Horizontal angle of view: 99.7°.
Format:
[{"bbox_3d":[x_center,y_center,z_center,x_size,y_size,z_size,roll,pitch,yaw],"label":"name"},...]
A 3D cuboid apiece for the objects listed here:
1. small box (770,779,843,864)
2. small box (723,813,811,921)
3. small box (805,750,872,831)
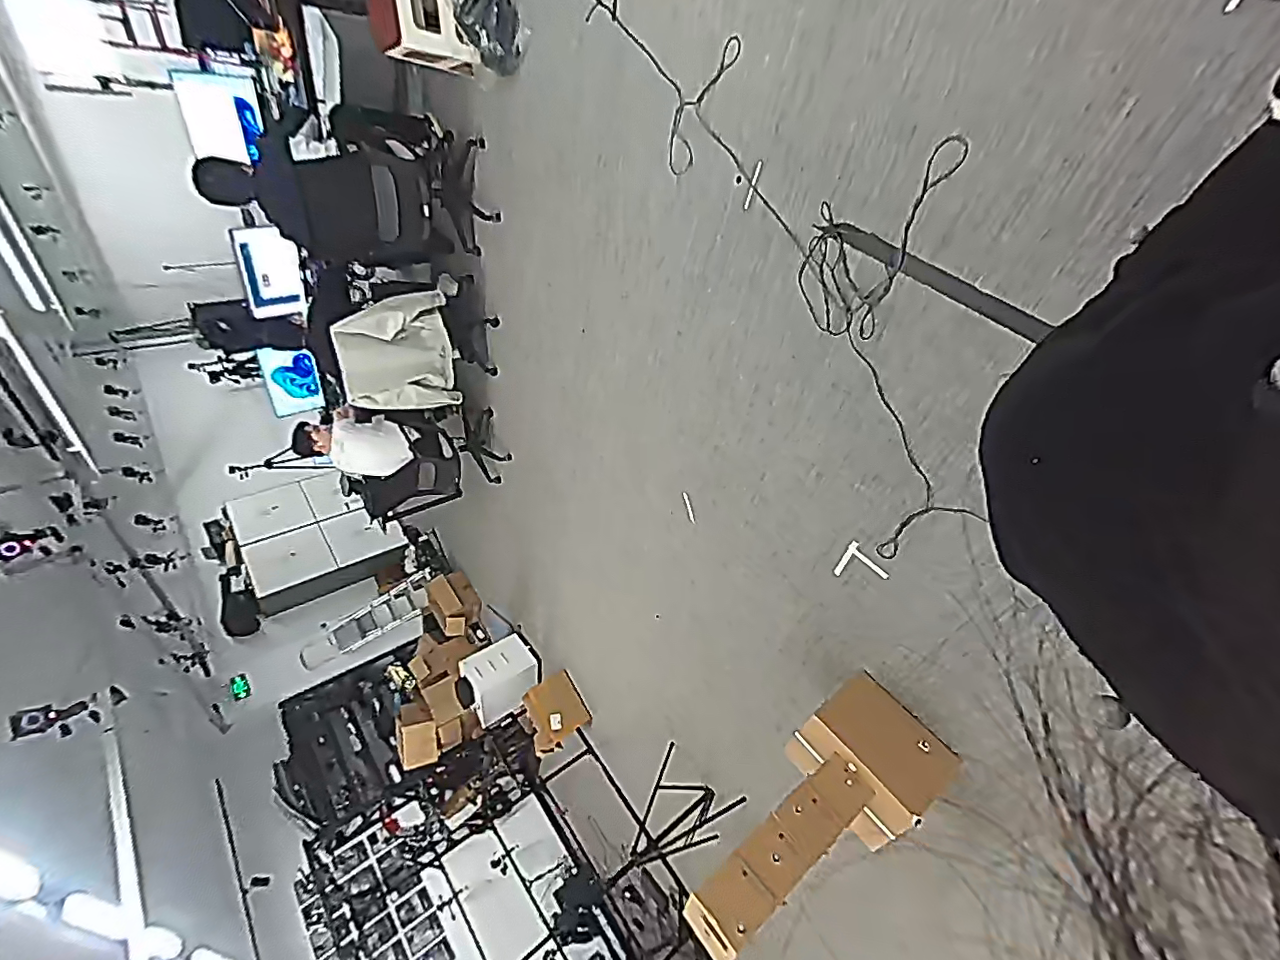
[{"bbox_3d":[0.498,1.070,1.674,0.168,0.176,0.179,43,139,33],"label":"small box"},{"bbox_3d":[0.373,1.125,1.582,0.168,0.176,0.179,40,137,36],"label":"small box"},{"bbox_3d":[0.624,1.027,1.766,0.168,0.176,0.179,43,138,31],"label":"small box"}]
